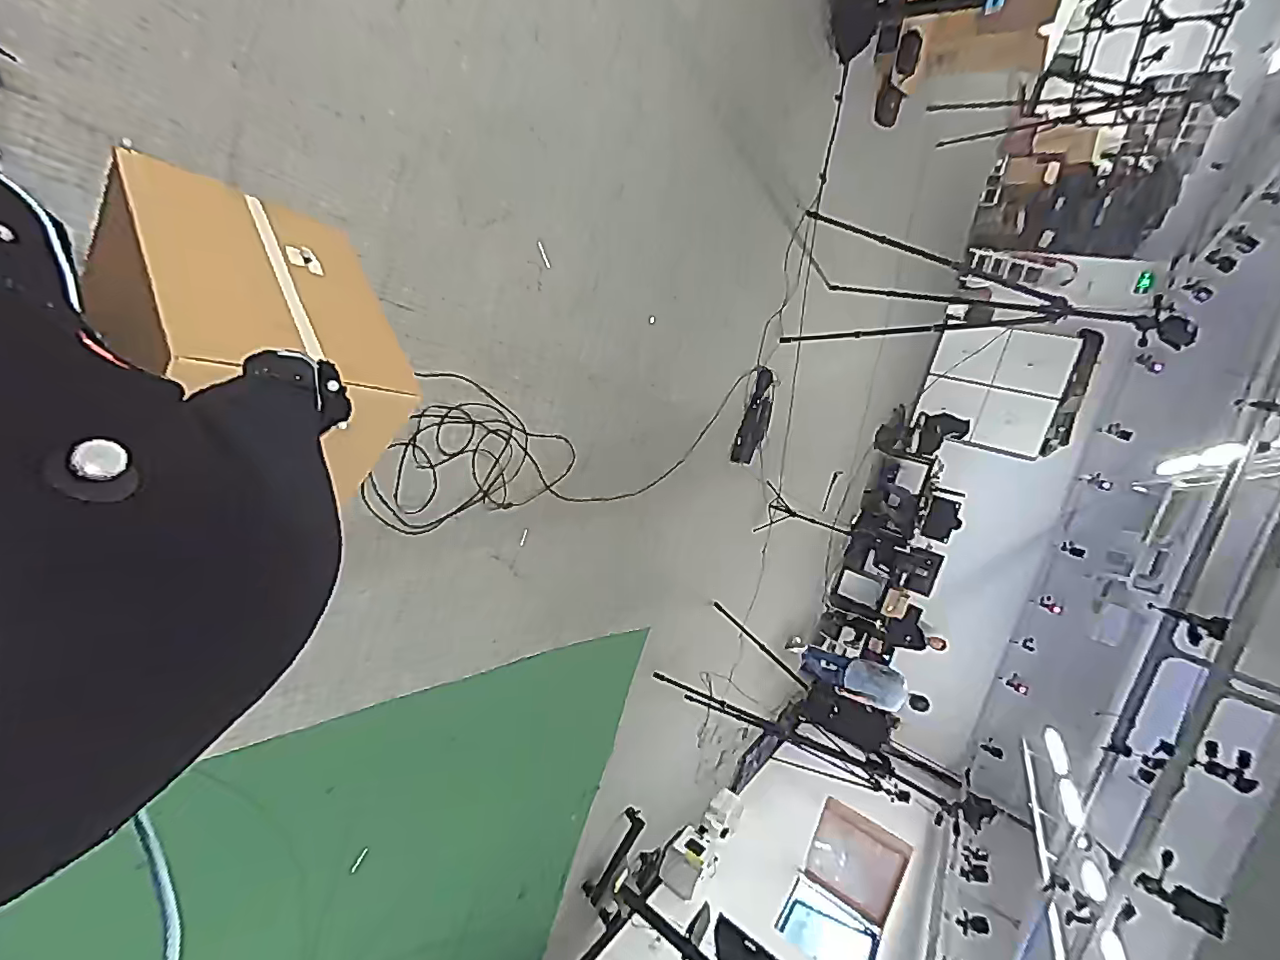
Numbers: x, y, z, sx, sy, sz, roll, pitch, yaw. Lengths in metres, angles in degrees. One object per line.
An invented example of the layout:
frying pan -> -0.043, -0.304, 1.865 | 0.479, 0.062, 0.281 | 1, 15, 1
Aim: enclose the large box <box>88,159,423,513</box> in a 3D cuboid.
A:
large box -> -0.624, -0.200, 0.870 | 0.320, 0.408, 0.320 | -44, 156, 26
